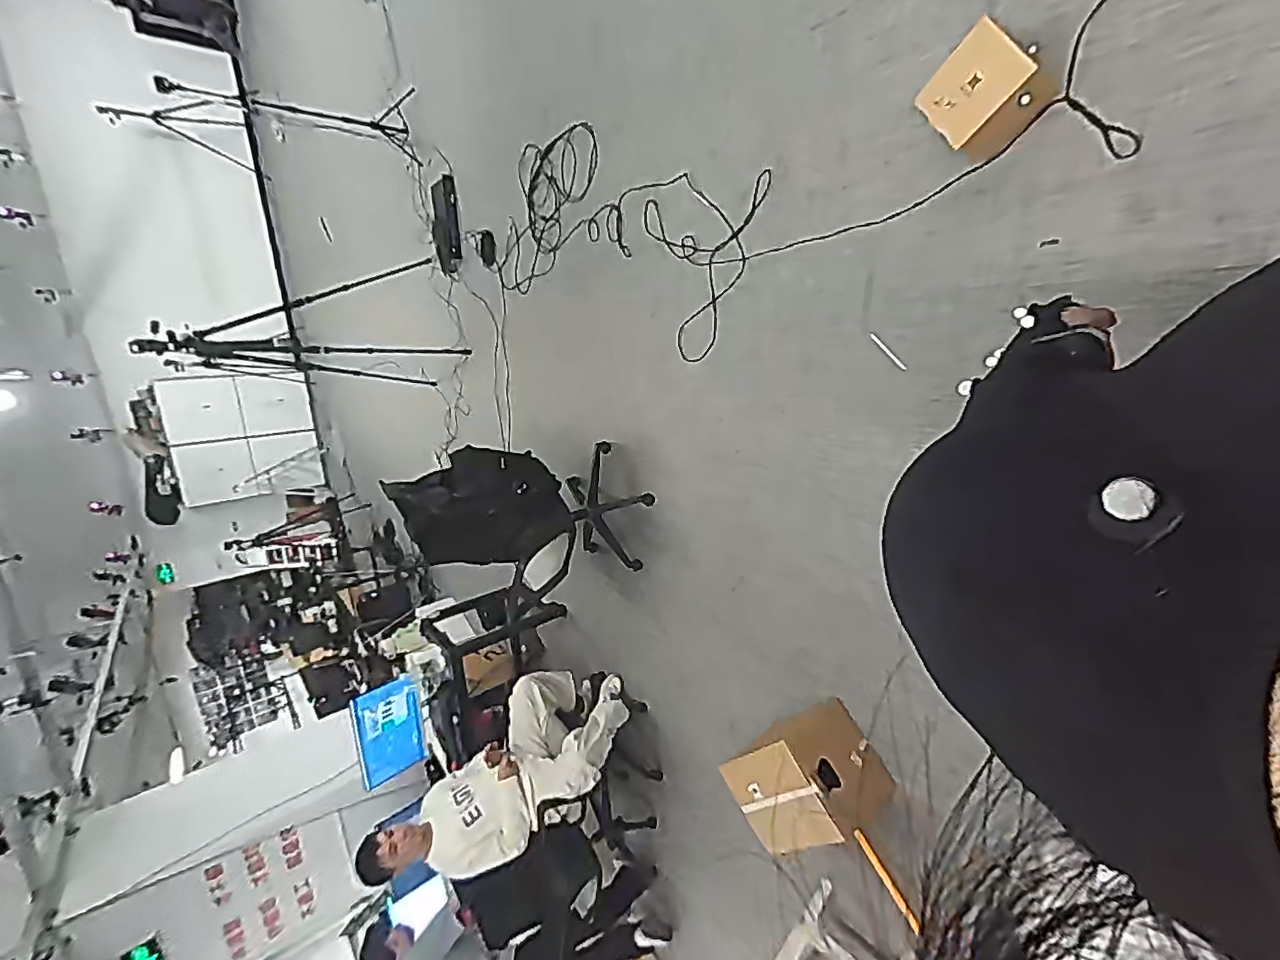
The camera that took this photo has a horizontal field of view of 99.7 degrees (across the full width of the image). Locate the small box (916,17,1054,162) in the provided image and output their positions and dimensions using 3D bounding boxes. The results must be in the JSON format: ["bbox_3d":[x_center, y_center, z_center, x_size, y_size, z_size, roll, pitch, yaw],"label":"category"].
[{"bbox_3d":[0.744,-0.824,1.160,0.179,0.176,0.168,-46,65,48],"label":"small box"}]
